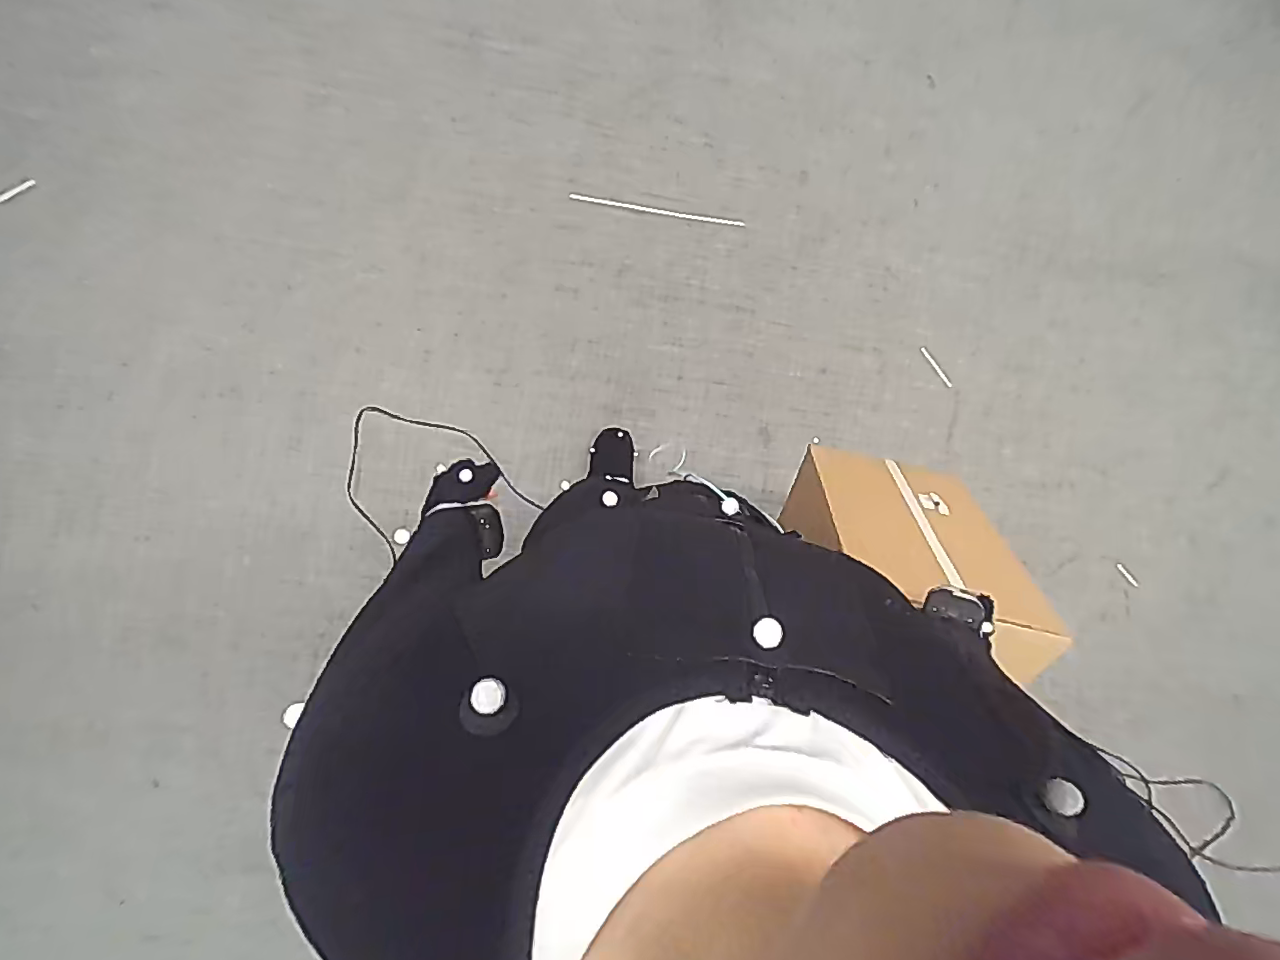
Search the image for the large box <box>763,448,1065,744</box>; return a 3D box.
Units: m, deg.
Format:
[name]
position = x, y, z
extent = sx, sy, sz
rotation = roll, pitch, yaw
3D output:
[large box]
position = 0.434, 0.196, 0.991
extent = 0.320, 0.408, 0.320
rotation = 13, 124, -2
